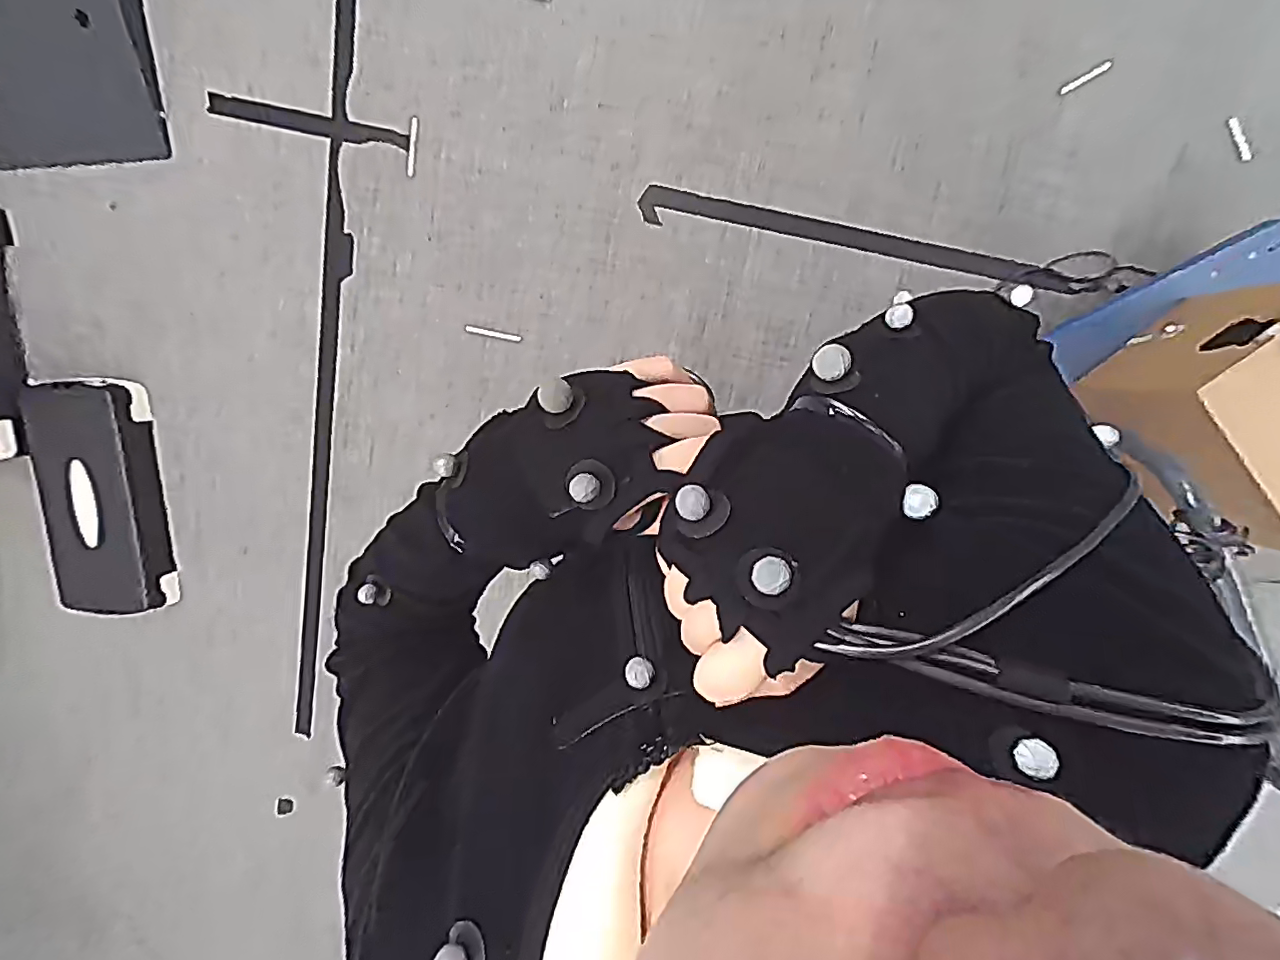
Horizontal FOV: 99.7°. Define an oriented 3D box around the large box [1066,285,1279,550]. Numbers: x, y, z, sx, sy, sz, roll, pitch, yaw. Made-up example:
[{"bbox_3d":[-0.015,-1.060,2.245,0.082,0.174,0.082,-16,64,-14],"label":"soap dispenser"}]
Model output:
[{"bbox_3d":[1.200,-0.128,1.089,0.320,0.320,0.408,-39,97,9],"label":"large box"}]
